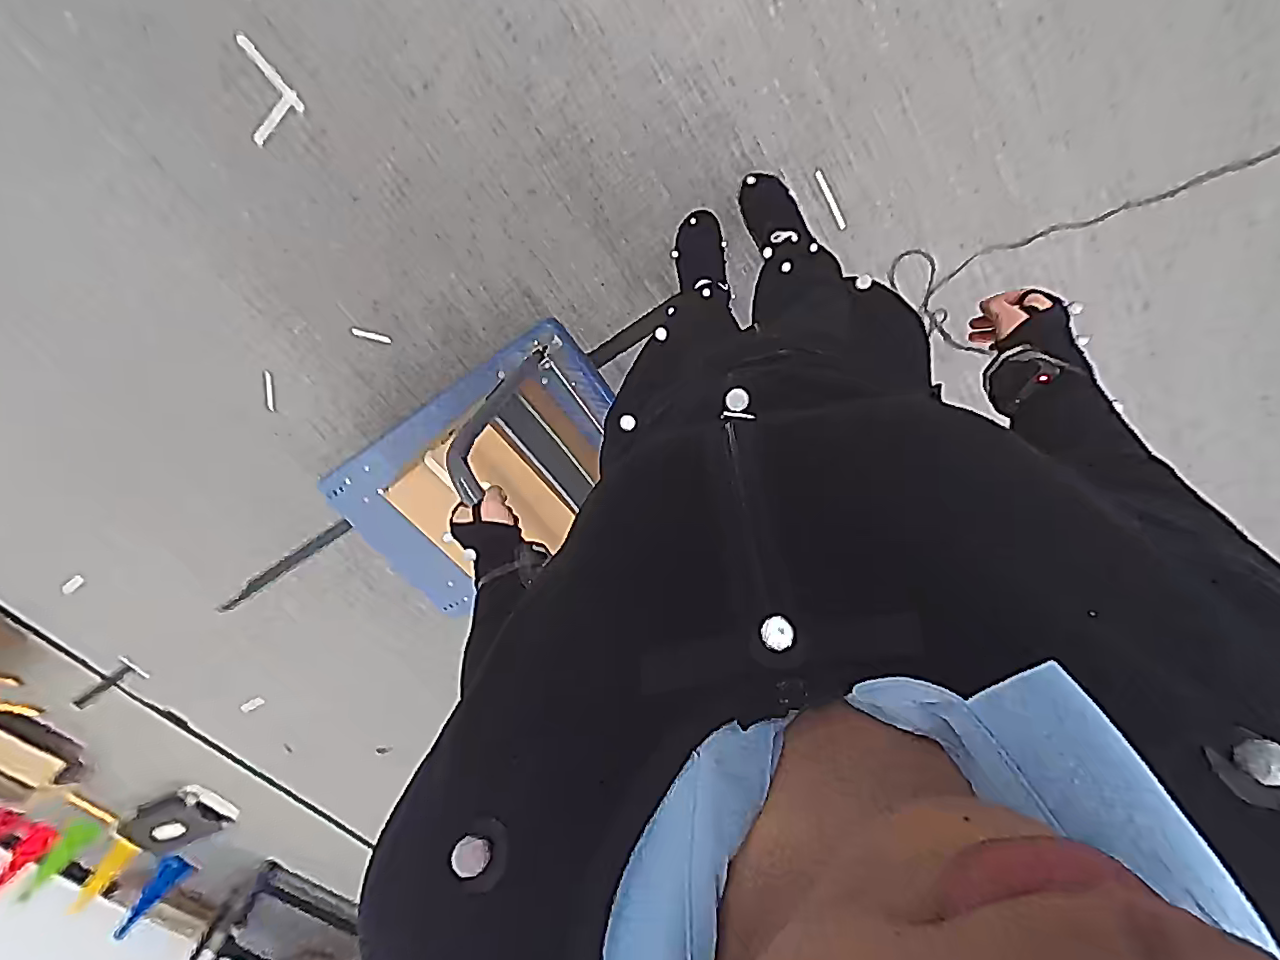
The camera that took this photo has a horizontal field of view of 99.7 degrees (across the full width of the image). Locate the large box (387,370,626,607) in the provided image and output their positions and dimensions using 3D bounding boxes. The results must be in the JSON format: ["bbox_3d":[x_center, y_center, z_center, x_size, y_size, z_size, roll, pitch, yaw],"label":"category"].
[{"bbox_3d":[-0.285,0.018,1.290,0.320,0.320,0.408,-32,110,20],"label":"large box"}]
